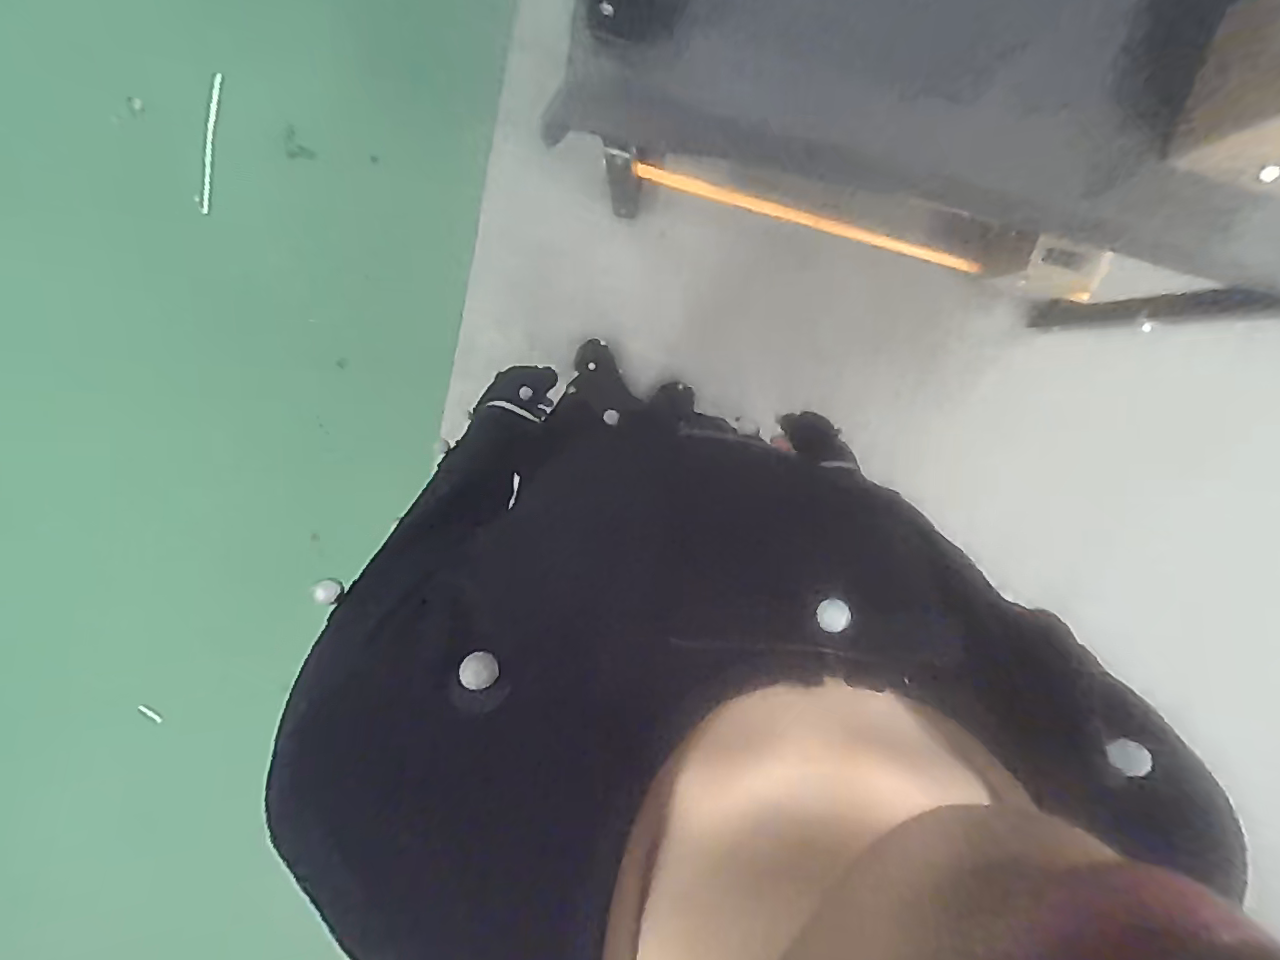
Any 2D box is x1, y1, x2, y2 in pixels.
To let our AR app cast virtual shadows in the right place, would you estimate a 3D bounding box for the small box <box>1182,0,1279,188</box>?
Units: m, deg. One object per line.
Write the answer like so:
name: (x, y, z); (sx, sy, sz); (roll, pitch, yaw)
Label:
small box: (0.743, -0.441, 0.564); (0.168, 0.176, 0.179); (13, 101, -2)
